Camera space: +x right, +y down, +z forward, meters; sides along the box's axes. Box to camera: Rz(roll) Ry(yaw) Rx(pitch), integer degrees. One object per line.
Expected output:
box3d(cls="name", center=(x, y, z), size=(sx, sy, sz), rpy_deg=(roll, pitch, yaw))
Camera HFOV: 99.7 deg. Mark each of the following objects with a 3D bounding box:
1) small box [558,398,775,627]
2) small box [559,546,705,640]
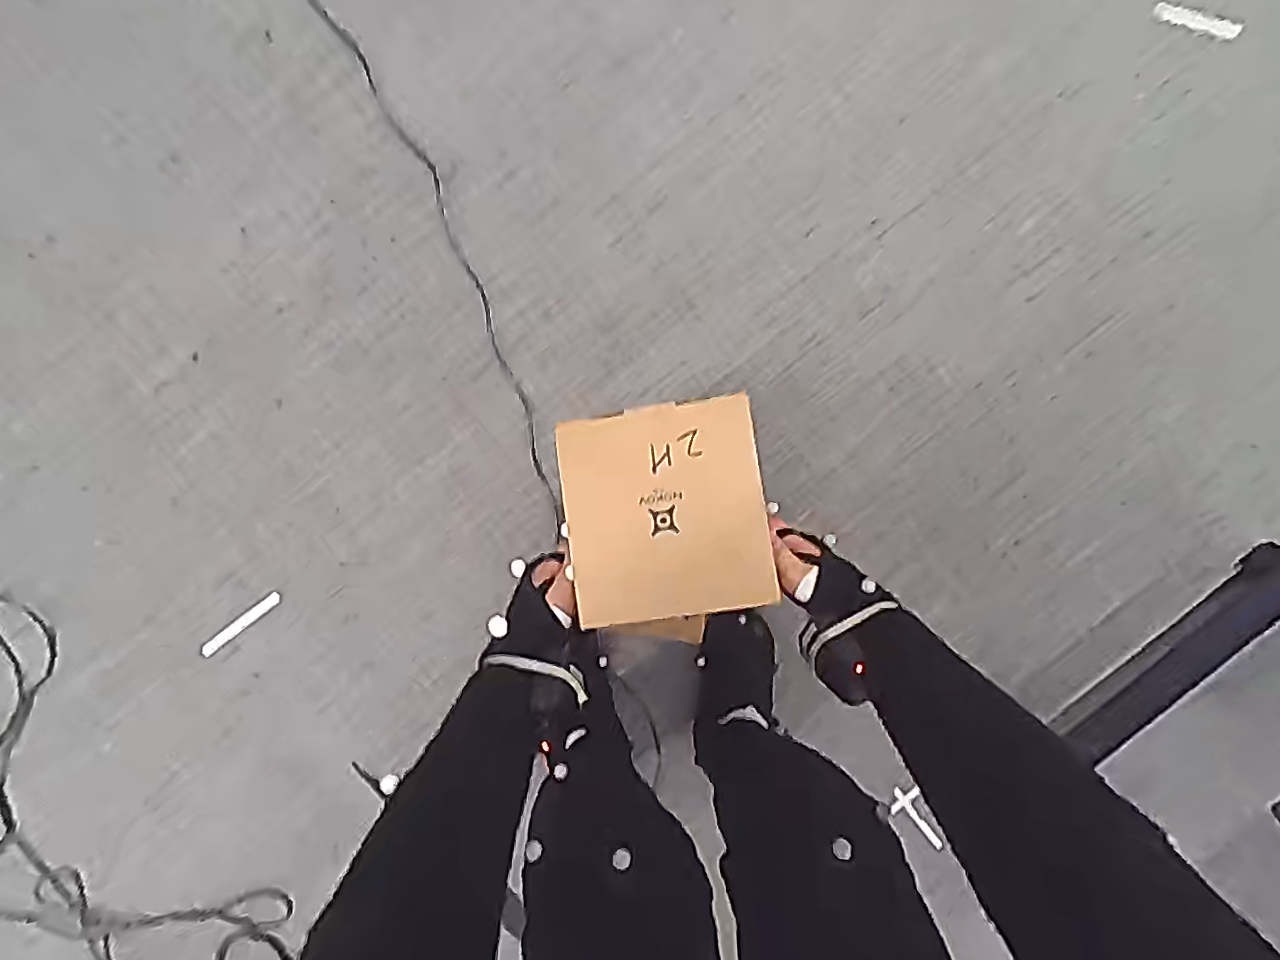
box3d(cls="small box", center=(0.028, 0.033, 0.528), size=(0.168, 0.176, 0.179), rpy_deg=(-8, 84, 5))
box3d(cls="small box", center=(-0.003, 0.092, 0.717), size=(0.179, 0.176, 0.168), rpy_deg=(11, 95, -6))
